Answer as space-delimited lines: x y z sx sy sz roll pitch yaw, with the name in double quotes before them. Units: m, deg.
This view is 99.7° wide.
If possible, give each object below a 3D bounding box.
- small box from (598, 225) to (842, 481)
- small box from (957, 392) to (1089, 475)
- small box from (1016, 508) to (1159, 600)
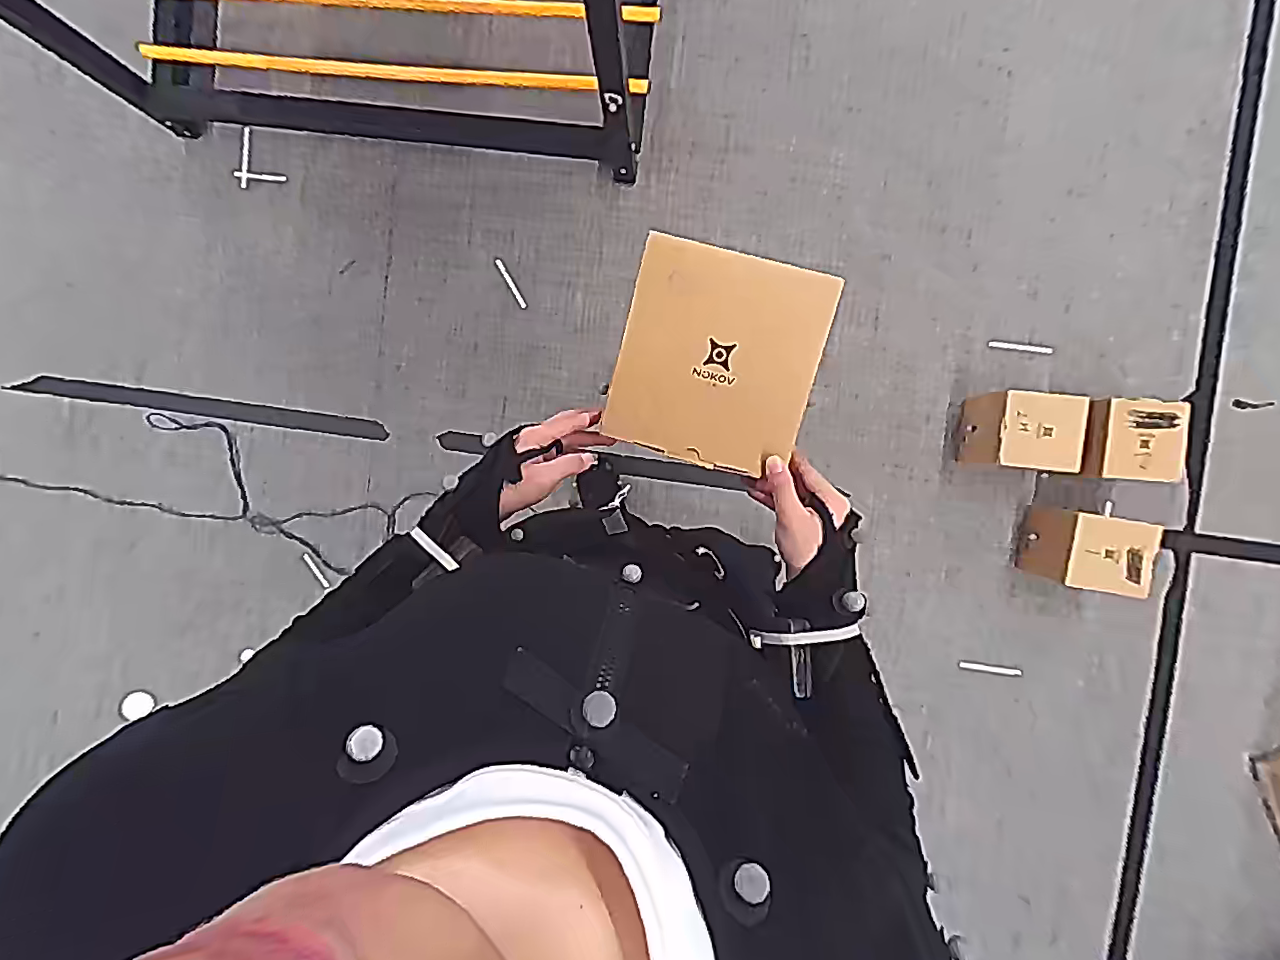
"small box" 0.067 -0.113 0.521 0.168 0.176 0.179 15 99 1
"small box" 0.871 -0.105 1.245 0.179 0.176 0.168 6 92 2
"small box" 1.025 0.163 1.252 0.179 0.176 0.168 9 93 3
